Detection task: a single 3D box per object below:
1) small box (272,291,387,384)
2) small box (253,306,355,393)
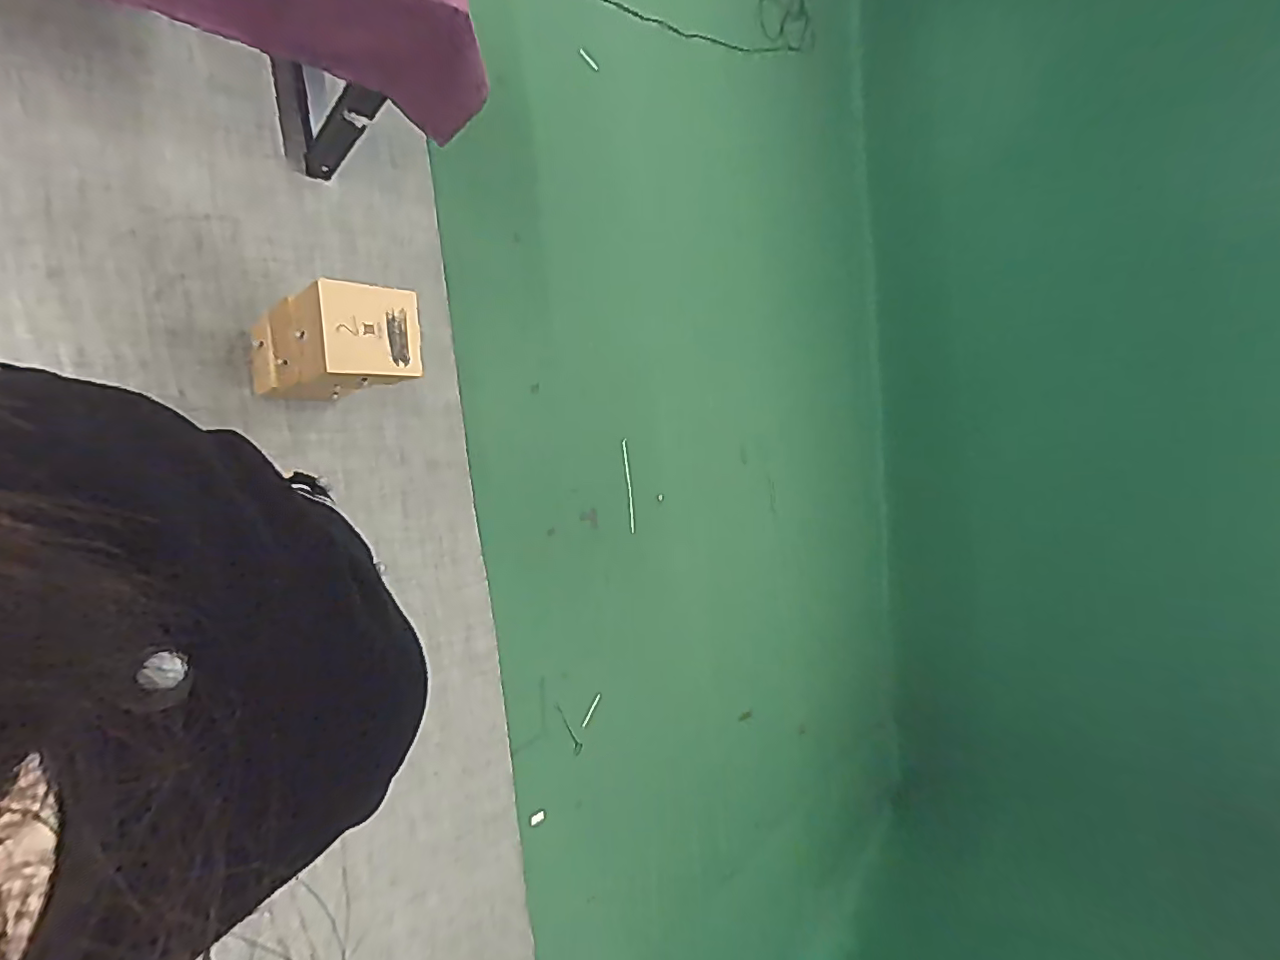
[{"bbox_3d":[-0.677,-0.299,1.174,0.179,0.176,0.168,-10,98,-45],"label":"small box"},{"bbox_3d":[-0.799,-0.300,1.283,0.179,0.176,0.168,-6,95,-45],"label":"small box"}]
